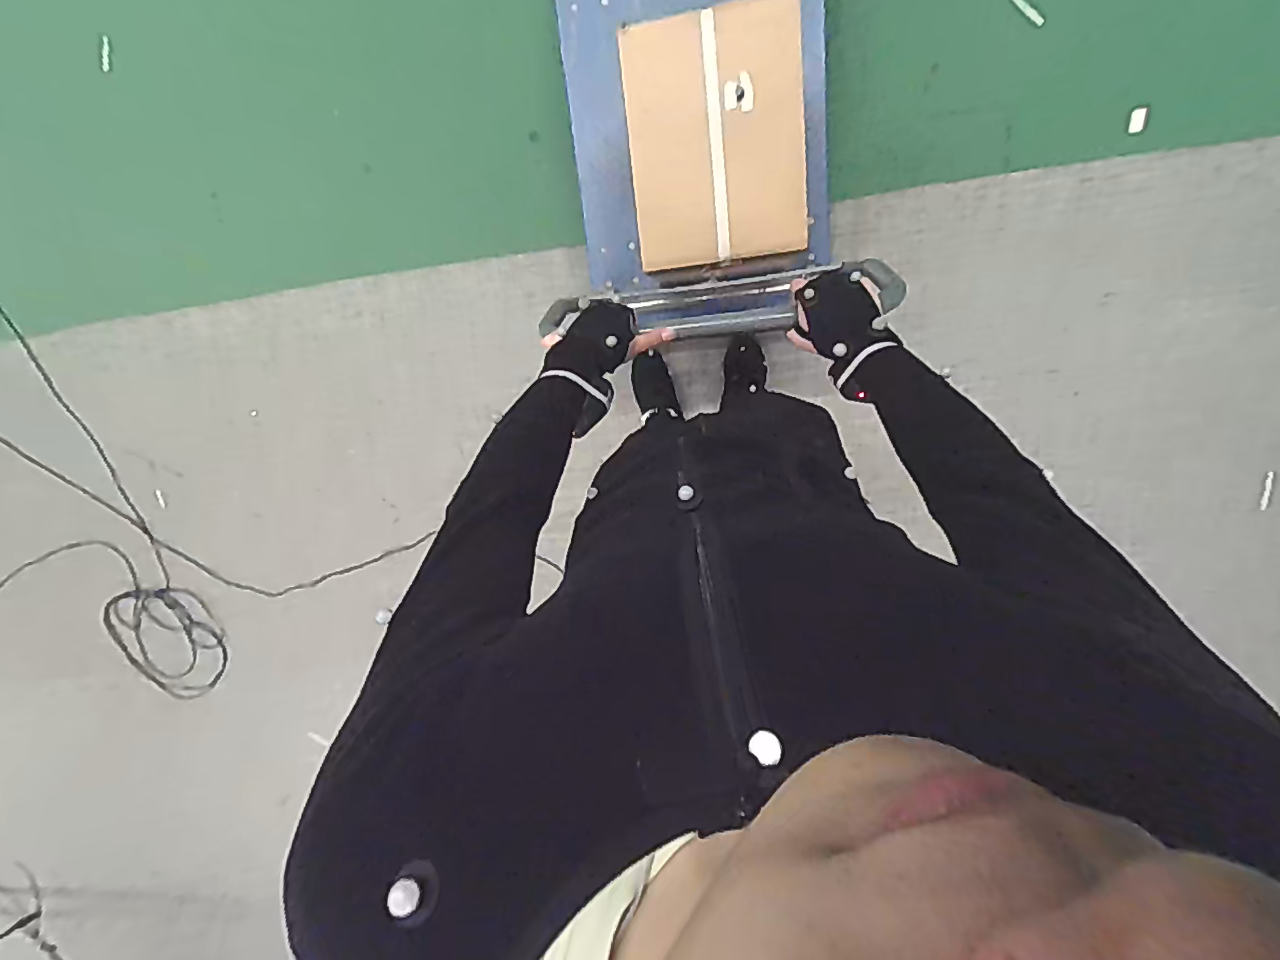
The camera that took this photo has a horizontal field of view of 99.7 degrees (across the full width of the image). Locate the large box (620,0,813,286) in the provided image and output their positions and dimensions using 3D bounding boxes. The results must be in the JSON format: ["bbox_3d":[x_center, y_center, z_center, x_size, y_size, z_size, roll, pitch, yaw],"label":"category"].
[{"bbox_3d":[0.161,-0.637,1.103,0.320,0.320,0.408,-5,105,8],"label":"large box"}]
